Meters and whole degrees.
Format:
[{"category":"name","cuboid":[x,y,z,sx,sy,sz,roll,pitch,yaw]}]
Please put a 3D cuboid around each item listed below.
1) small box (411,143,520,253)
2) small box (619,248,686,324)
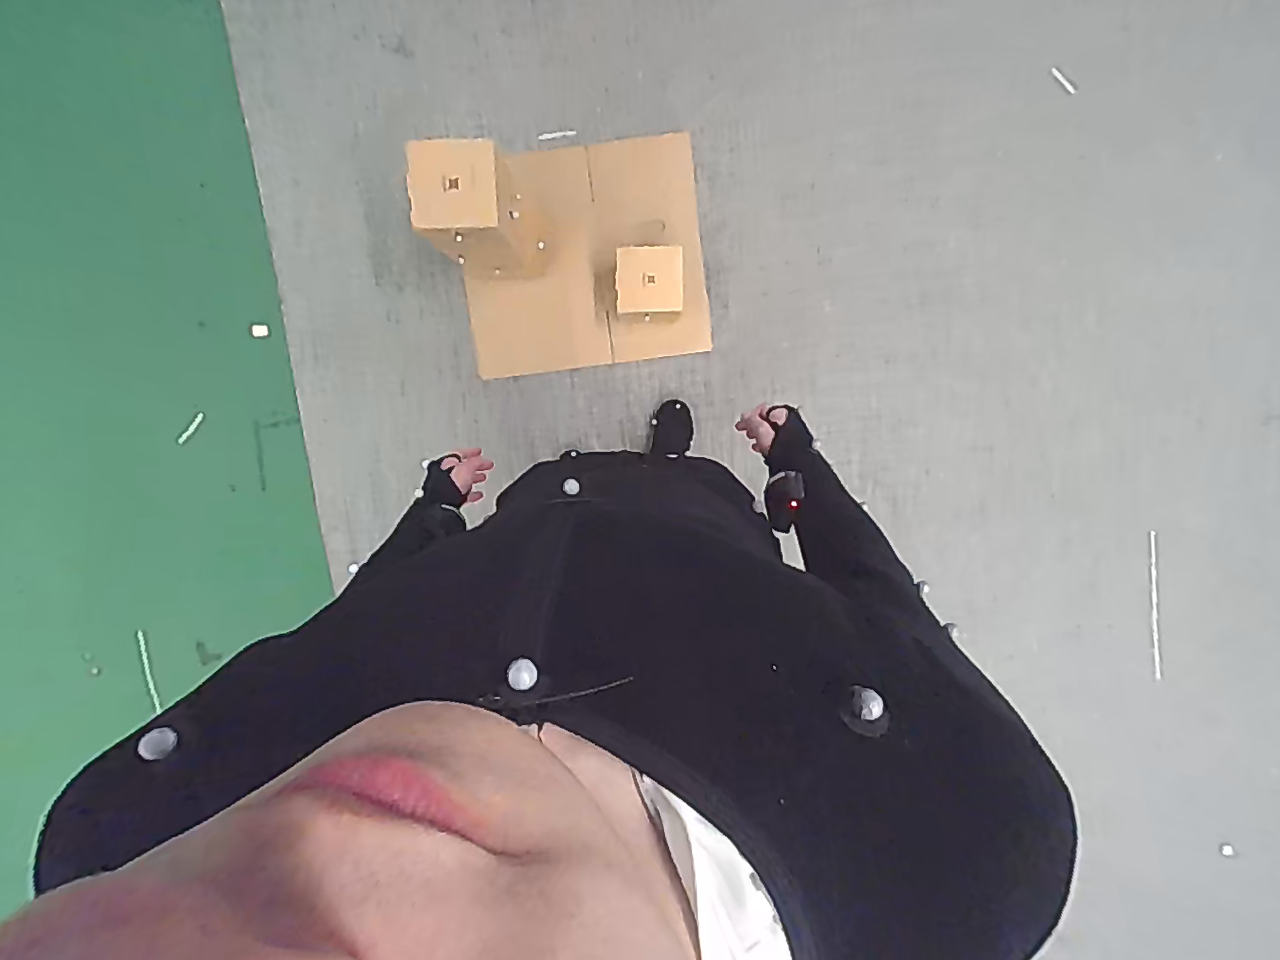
[{"category":"small box","cuboid":[-0.365,-0.593,1.155,0.179,0.176,0.168,0,98,1]},{"category":"small box","cuboid":[0.034,-0.528,1.485,0.179,0.176,0.168,-1,97,2]}]
